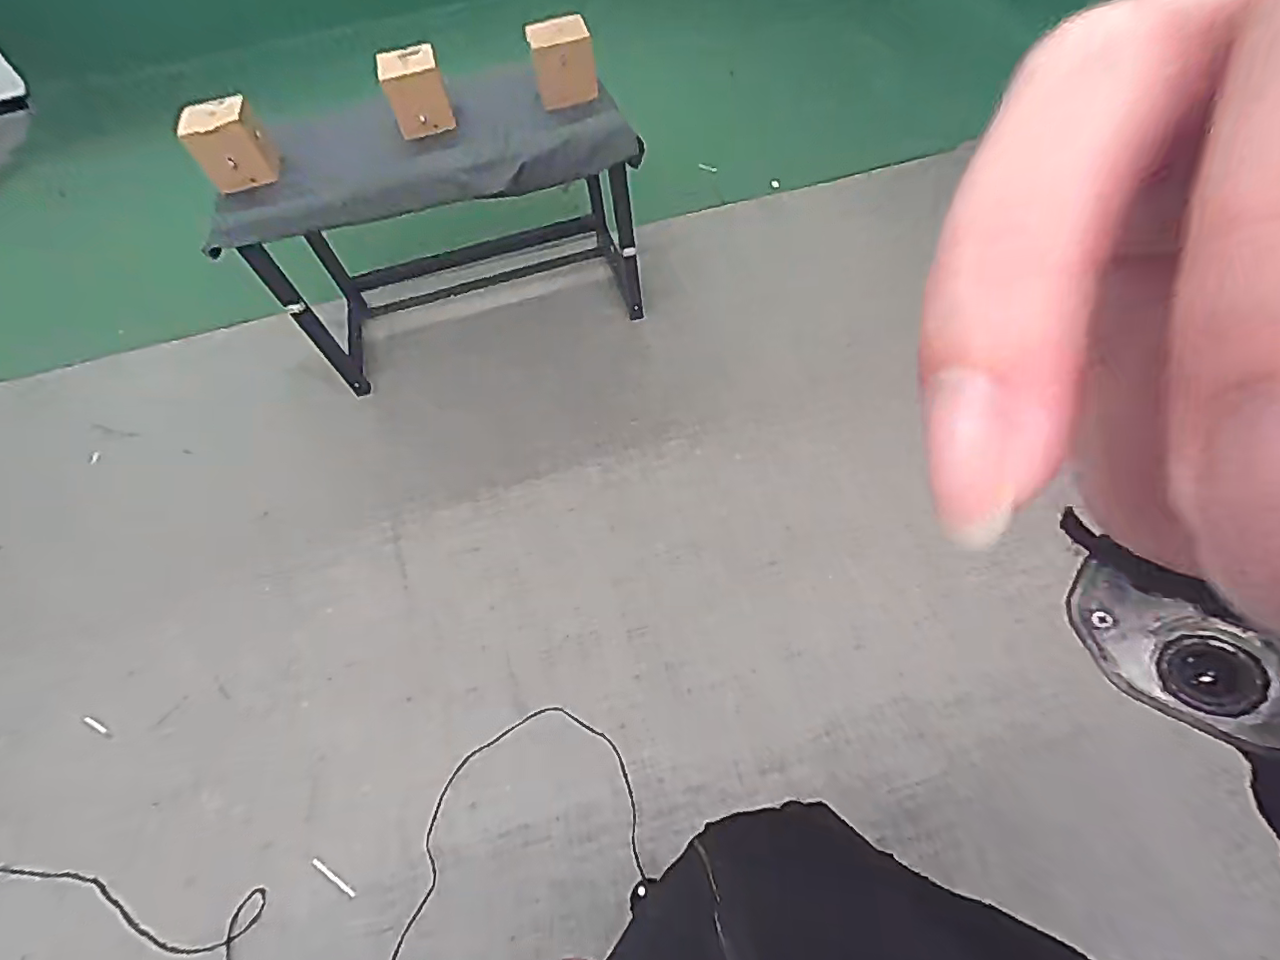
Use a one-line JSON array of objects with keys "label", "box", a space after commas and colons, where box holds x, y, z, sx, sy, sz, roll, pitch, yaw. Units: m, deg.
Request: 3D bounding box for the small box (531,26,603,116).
[{"label": "small box", "box": [-0.223, -1.257, 1.670, 0.179, 0.176, 0.168, -14, 59, -5]}]

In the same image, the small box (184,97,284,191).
[{"label": "small box", "box": [-1.169, -0.966, 1.571, 0.168, 0.176, 0.179, -18, 59, -7]}]

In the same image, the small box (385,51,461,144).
[{"label": "small box", "box": [-0.661, -1.167, 1.652, 0.168, 0.176, 0.179, -16, 59, -5]}]
